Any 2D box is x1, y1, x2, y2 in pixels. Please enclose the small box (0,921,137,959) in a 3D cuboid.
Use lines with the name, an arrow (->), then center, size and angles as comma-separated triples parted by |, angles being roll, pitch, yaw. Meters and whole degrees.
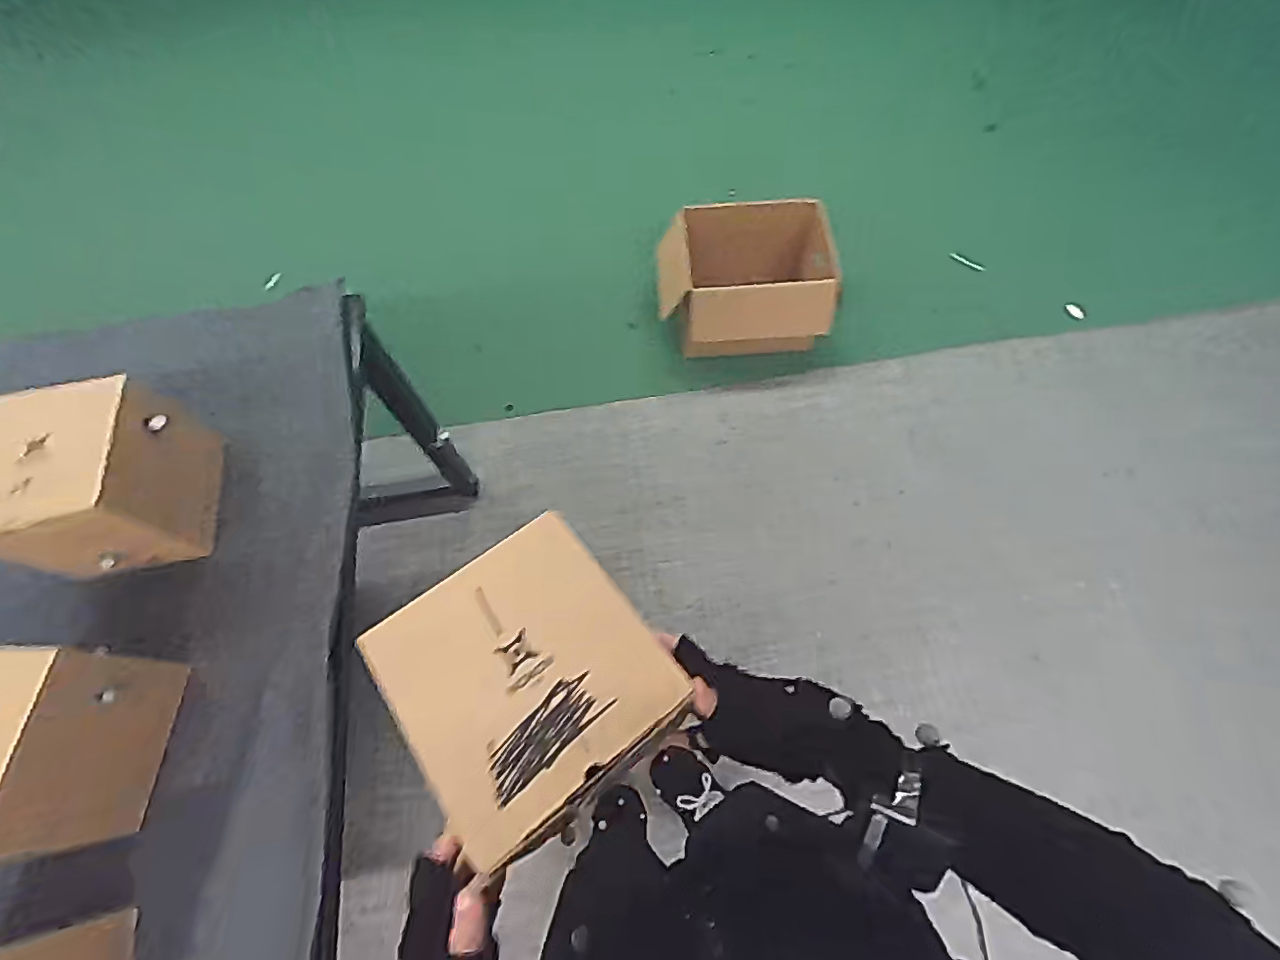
small box -> -0.573, 0.504, 0.445 | 0.168, 0.176, 0.179 | -14, 67, -6

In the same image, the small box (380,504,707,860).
small box -> -0.066, 0.158, 0.435 | 0.168, 0.176, 0.179 | -32, 63, -17

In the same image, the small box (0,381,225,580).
small box -> -0.659, 0.006, 0.669 | 0.168, 0.176, 0.179 | -11, 66, -4
